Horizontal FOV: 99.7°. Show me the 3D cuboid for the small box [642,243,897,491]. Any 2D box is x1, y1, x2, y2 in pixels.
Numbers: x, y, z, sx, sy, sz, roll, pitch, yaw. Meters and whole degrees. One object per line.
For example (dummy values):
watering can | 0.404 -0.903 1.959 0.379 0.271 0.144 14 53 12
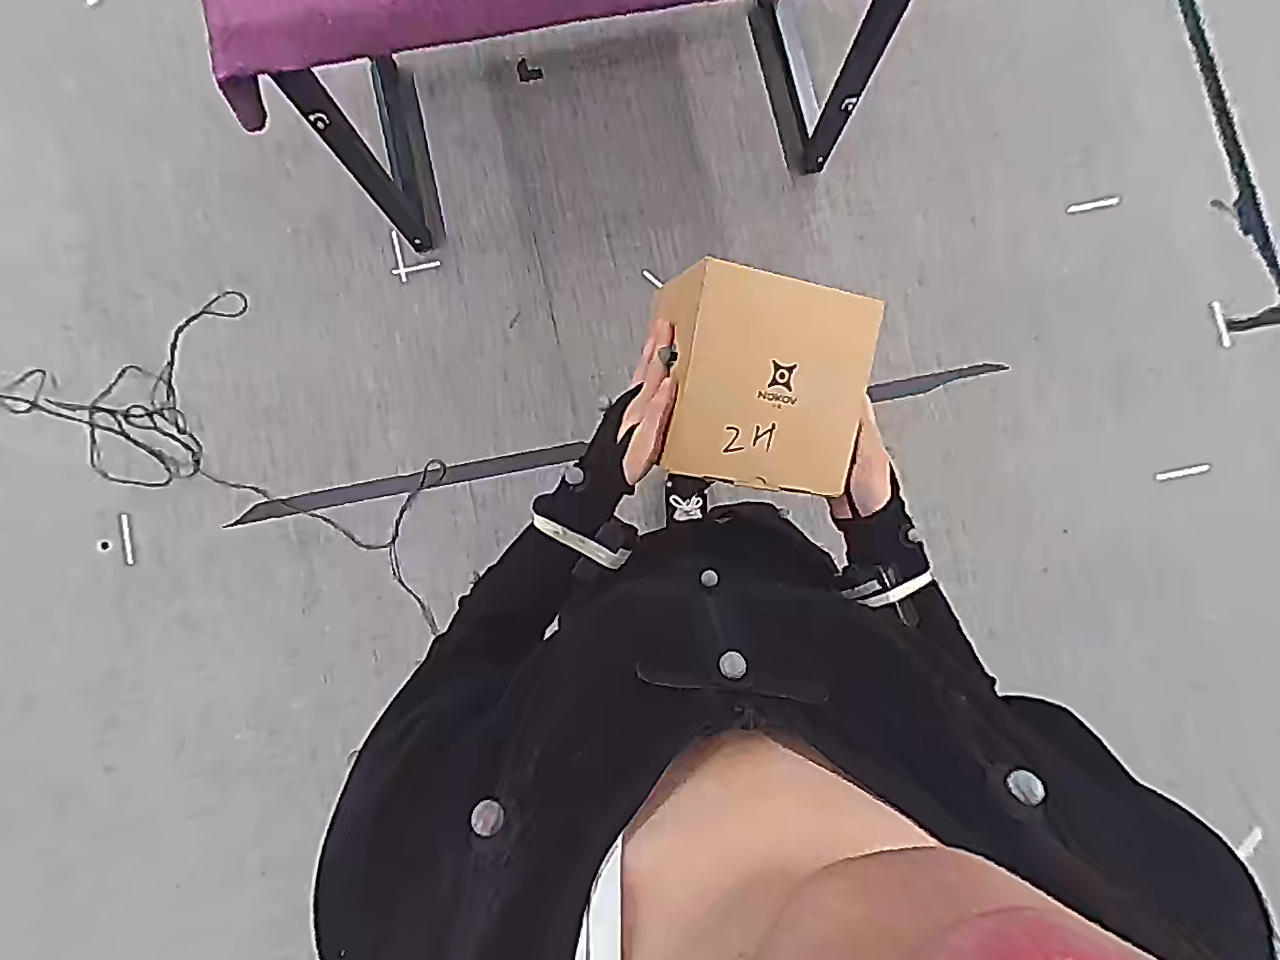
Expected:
small box | 0.107 -0.098 0.523 0.168 0.176 0.179 10 96 -13
